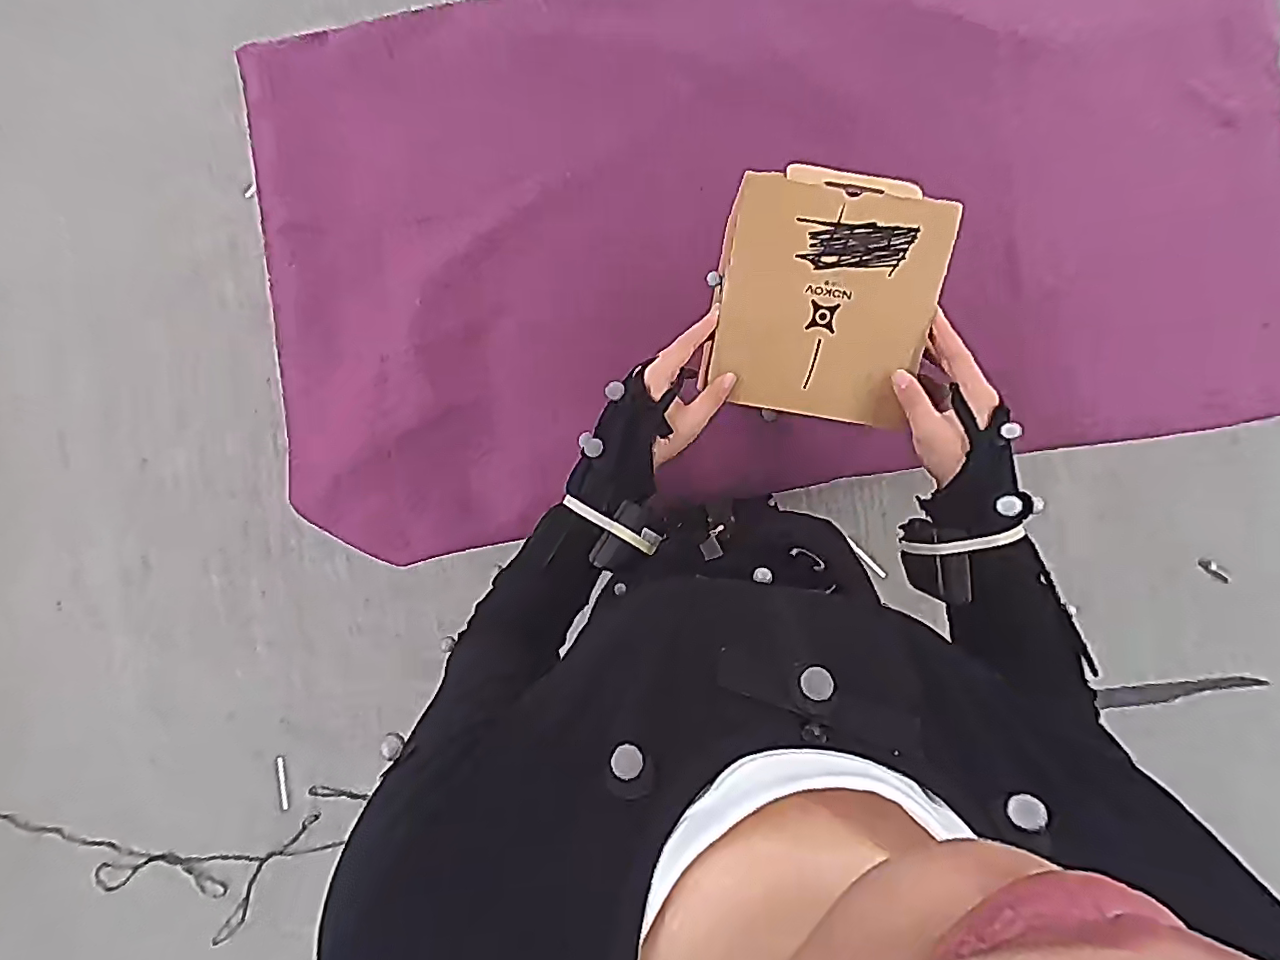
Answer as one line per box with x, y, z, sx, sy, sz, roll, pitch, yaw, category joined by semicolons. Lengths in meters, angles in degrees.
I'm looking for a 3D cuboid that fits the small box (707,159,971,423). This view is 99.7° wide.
0.157;-0.159;0.496;0.168;0.176;0.179;10;103;2;small box
